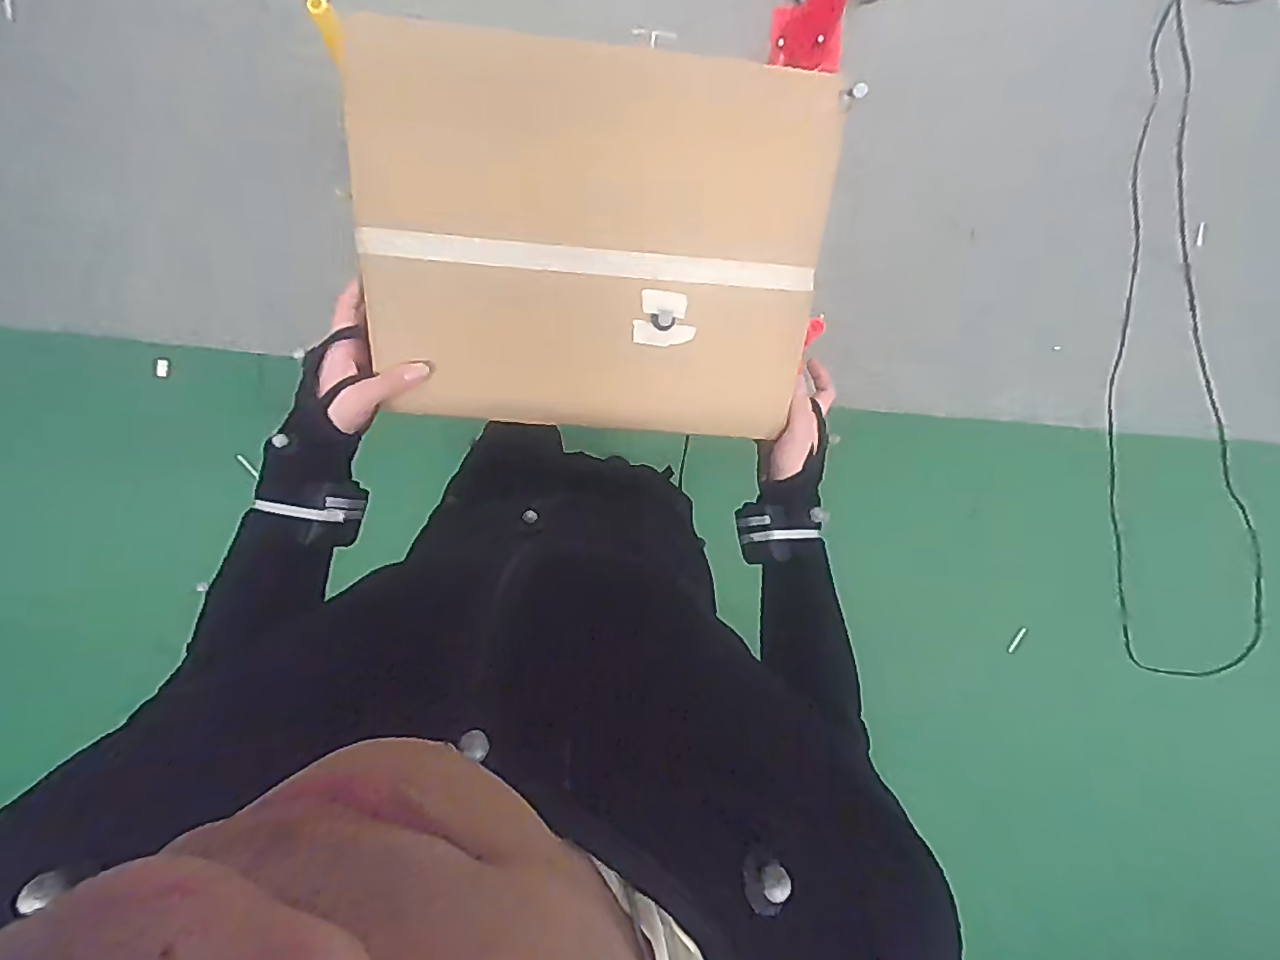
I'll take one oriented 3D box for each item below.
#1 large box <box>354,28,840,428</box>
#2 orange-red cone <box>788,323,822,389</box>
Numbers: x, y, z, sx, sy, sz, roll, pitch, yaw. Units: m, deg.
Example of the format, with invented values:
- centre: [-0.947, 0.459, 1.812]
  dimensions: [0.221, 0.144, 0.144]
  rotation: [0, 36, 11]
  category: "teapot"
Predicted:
- centre: [-0.049, -0.258, 0.630]
  dimensions: [0.408, 0.320, 0.320]
  rotation: [3, 113, -5]
  category: "large box"
- centre: [0.401, -0.367, 1.440]
  dimensions: [0.199, 0.360, 0.198]
  rotation: [13, 95, -5]
  category: "orange-red cone"
